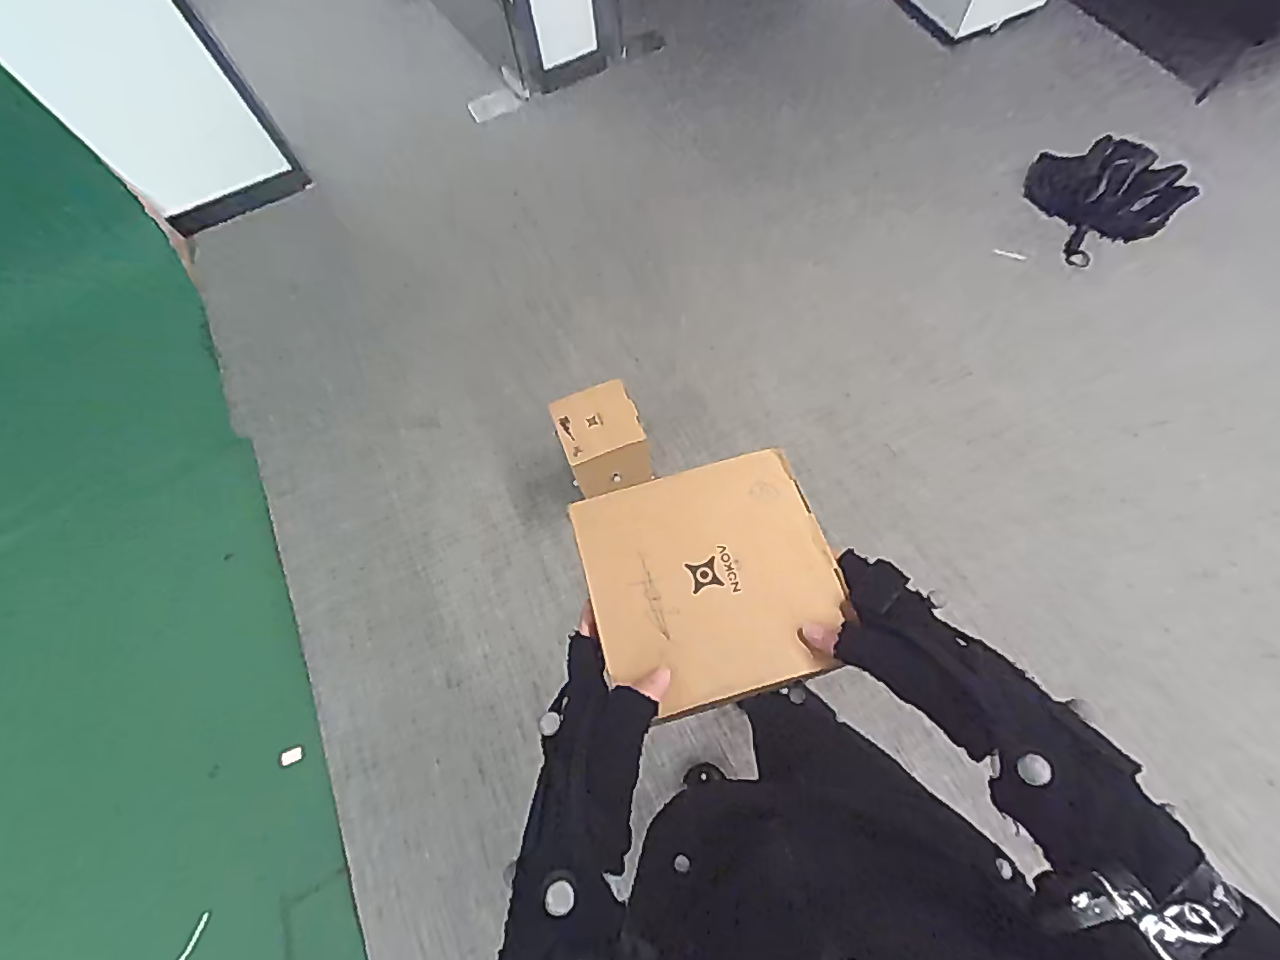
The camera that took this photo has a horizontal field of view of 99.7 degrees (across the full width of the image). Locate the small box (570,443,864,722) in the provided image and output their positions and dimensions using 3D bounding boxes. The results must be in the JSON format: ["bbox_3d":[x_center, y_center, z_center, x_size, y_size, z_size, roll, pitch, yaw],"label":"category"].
[{"bbox_3d":[0.055,0.097,0.466,0.179,0.176,0.168,-18,64,-2],"label":"small box"}]

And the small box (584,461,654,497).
[{"bbox_3d":[-0.069,-0.035,1.396,0.179,0.176,0.168,-22,68,-3],"label":"small box"}]

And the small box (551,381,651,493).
[{"bbox_3d":[-0.082,-0.093,1.246,0.179,0.176,0.168,-24,70,-4],"label":"small box"}]
